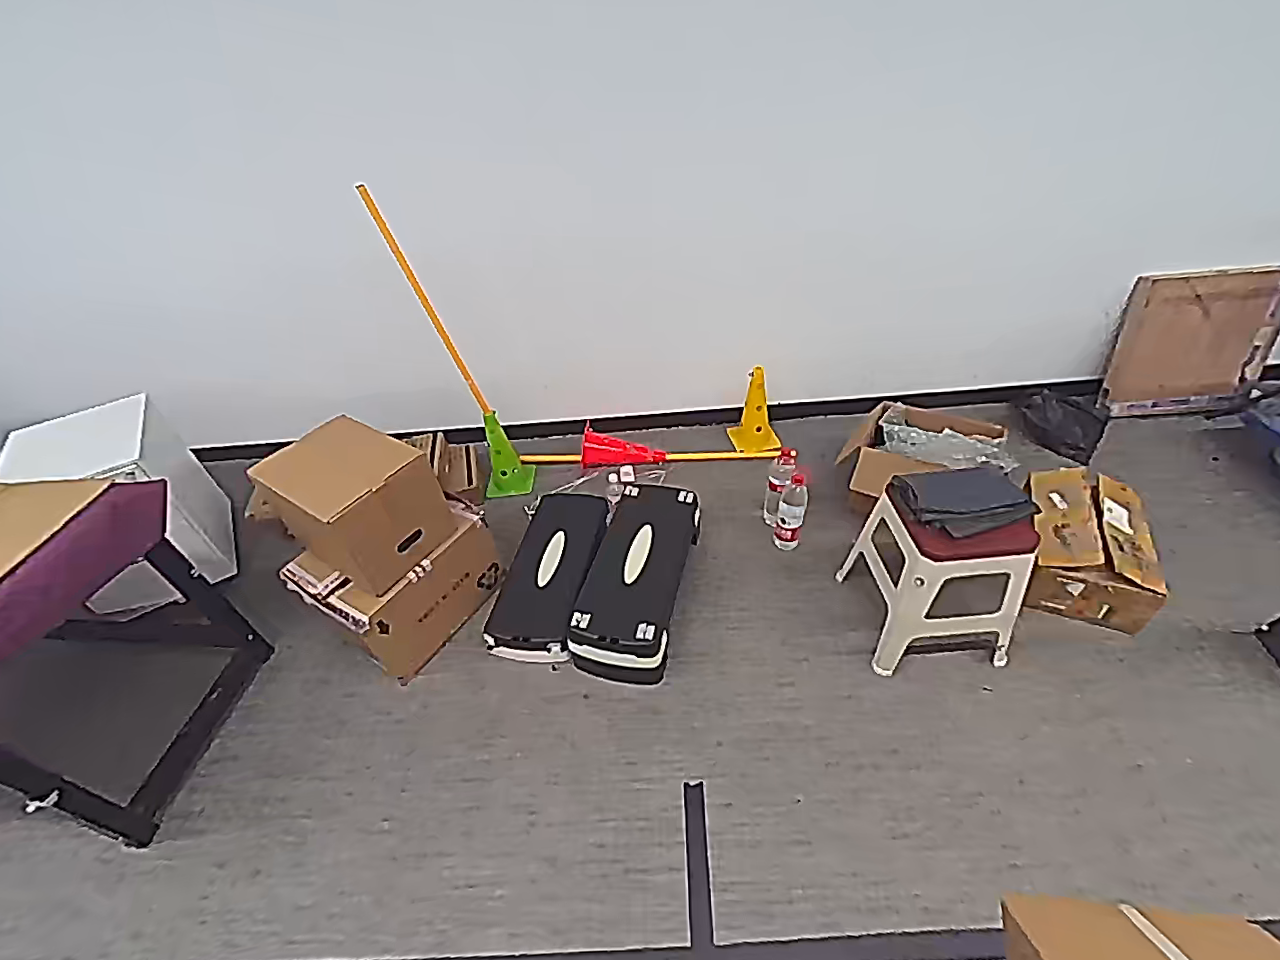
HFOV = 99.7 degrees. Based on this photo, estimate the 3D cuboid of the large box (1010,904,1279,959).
[{"bbox_3d":[0.640,0.737,0.548,0.320,0.408,0.320,-3,80,14],"label":"large box"}]
